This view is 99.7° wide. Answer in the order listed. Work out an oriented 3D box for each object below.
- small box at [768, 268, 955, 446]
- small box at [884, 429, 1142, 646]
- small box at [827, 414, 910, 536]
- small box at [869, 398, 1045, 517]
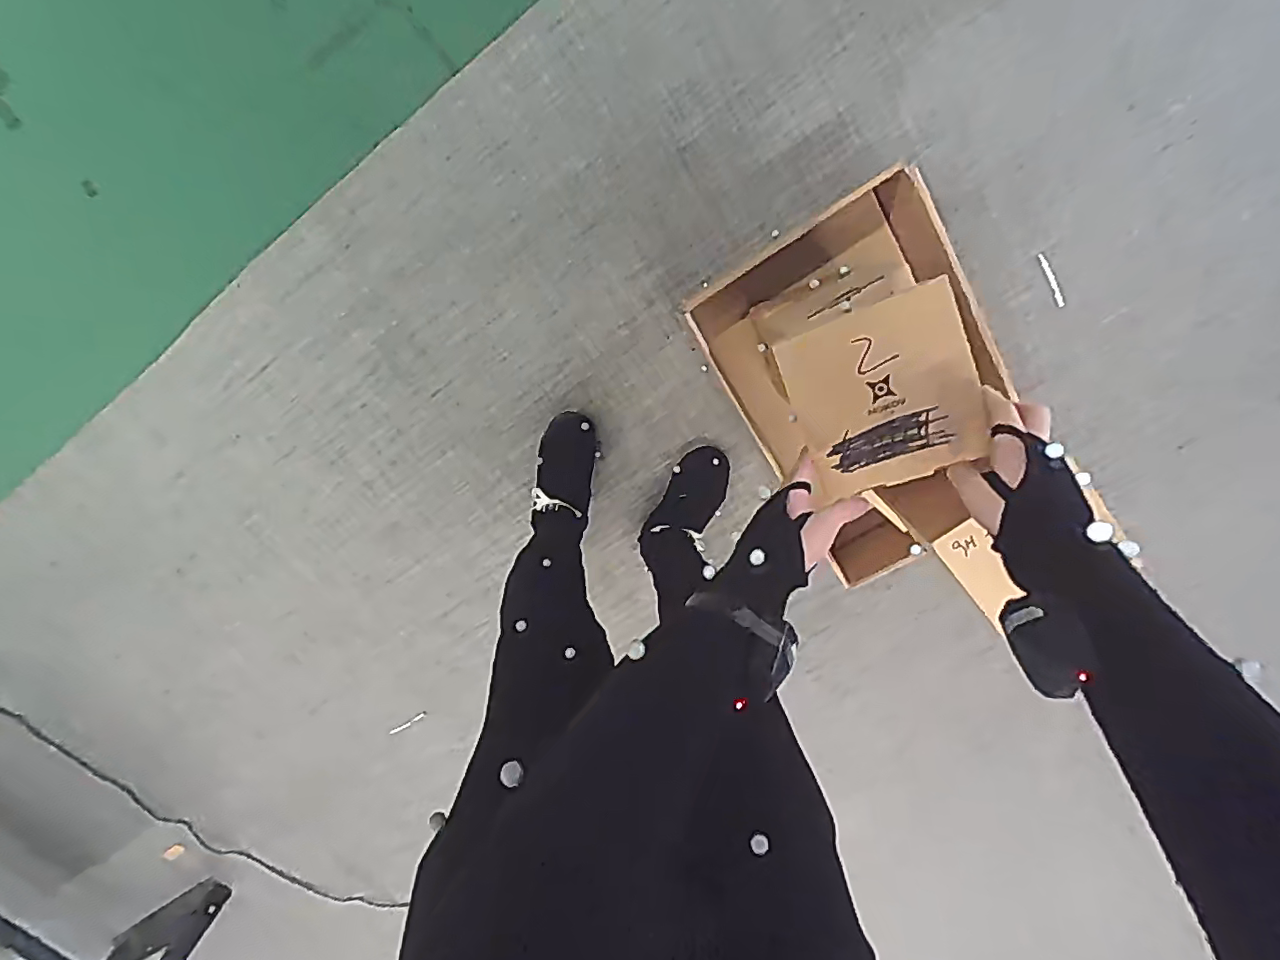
[{"bbox_3d":[0.300,-0.177,0.769,0.168,0.176,0.179,-27,107,11],"label":"small box"},{"bbox_3d":[0.445,0.061,0.674,0.168,0.176,0.179,-39,103,15],"label":"small box"},{"bbox_3d":[0.464,-0.036,0.983,0.168,0.176,0.179,39,106,-10],"label":"small box"},{"bbox_3d":[0.477,-0.005,0.821,0.168,0.176,0.179,30,108,-7],"label":"small box"}]
